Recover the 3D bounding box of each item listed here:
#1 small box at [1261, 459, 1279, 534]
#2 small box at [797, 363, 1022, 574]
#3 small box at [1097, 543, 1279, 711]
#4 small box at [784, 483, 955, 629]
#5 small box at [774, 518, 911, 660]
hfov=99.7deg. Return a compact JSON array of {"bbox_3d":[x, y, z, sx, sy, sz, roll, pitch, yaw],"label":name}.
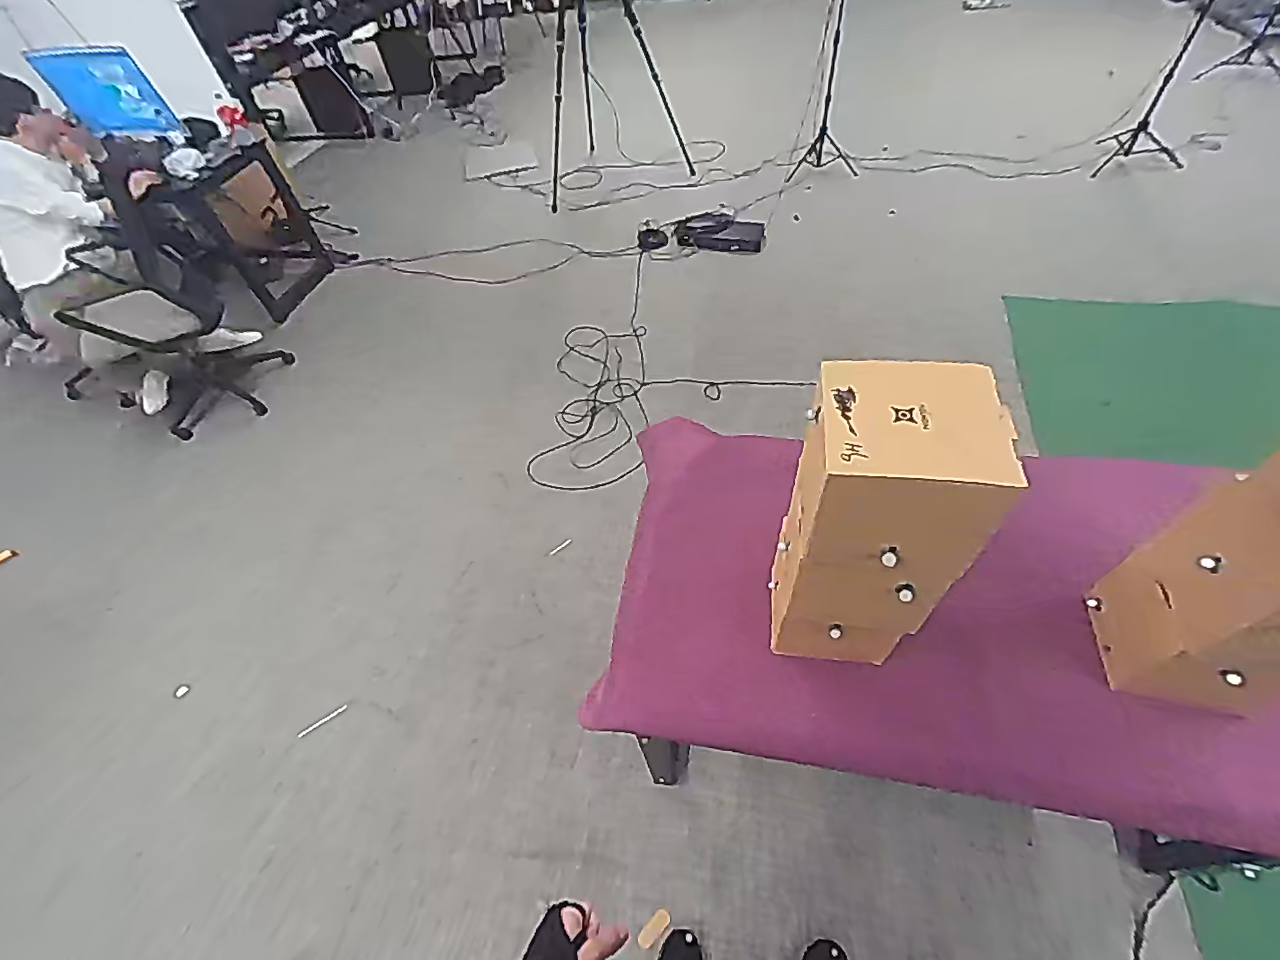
[{"bbox_3d":[0.764,0.024,0.509,0.179,0.176,0.168,9,54,15],"label":"small box"},{"bbox_3d":[0.279,-0.009,0.606,0.179,0.176,0.168,5,52,11],"label":"small box"},{"bbox_3d":[0.803,0.212,0.775,0.179,0.176,0.168,7,53,13],"label":"small box"},{"bbox_3d":[0.297,0.089,0.736,0.179,0.176,0.168,5,52,12],"label":"small box"},{"bbox_3d":[0.315,0.179,0.874,0.179,0.176,0.168,3,53,11],"label":"small box"}]
